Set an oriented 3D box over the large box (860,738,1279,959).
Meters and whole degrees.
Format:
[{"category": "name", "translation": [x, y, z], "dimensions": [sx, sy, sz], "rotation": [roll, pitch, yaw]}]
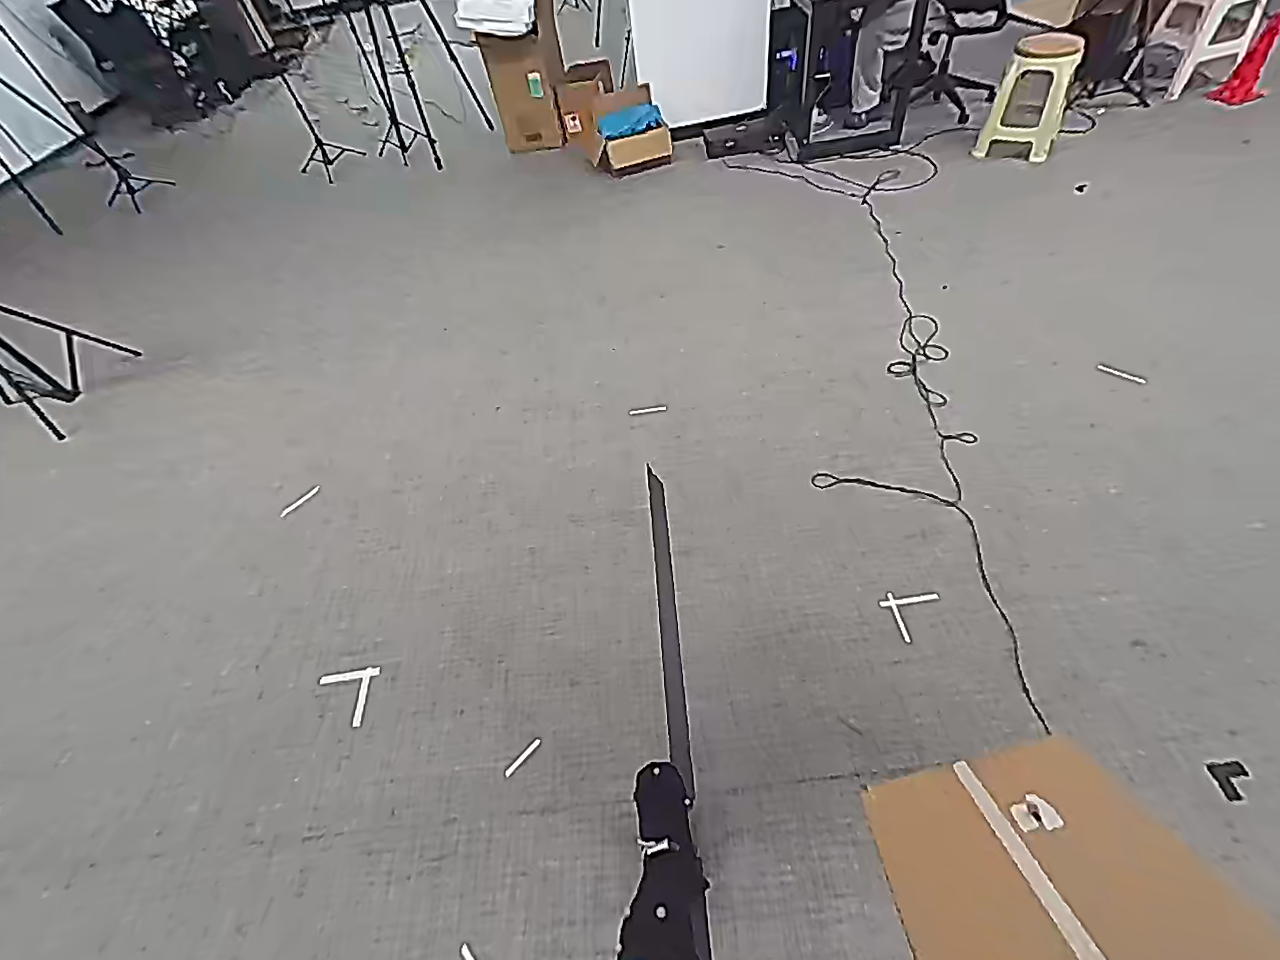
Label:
[{"category": "large box", "translation": [0.516, 0.597, 0.645], "dimensions": [0.320, 0.408, 0.320], "rotation": [-21, 91, 11]}]
